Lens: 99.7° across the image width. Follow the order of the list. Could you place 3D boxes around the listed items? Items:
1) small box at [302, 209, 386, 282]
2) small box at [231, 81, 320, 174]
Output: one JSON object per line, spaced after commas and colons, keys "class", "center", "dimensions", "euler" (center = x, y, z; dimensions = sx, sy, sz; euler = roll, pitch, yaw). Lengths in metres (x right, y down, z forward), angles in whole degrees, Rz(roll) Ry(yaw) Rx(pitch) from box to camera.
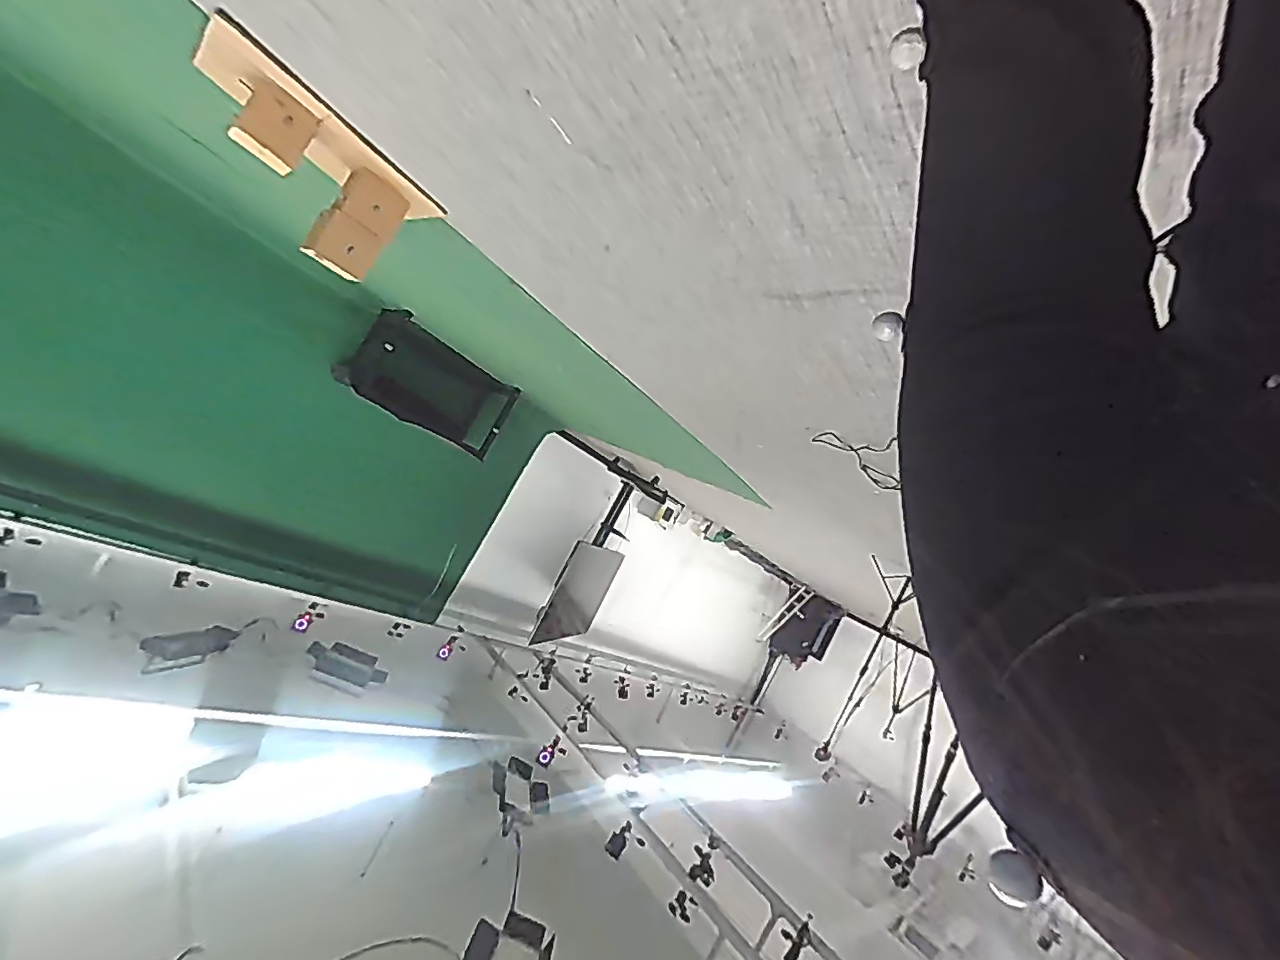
{"class": "small box", "center": [-1.036, -0.825, 1.896], "dimensions": [0.168, 0.176, 0.179], "euler": [25, 176, 41]}
{"class": "small box", "center": [-1.132, -1.092, 1.683], "dimensions": [0.179, 0.176, 0.168], "euler": [23, 172, 45]}
